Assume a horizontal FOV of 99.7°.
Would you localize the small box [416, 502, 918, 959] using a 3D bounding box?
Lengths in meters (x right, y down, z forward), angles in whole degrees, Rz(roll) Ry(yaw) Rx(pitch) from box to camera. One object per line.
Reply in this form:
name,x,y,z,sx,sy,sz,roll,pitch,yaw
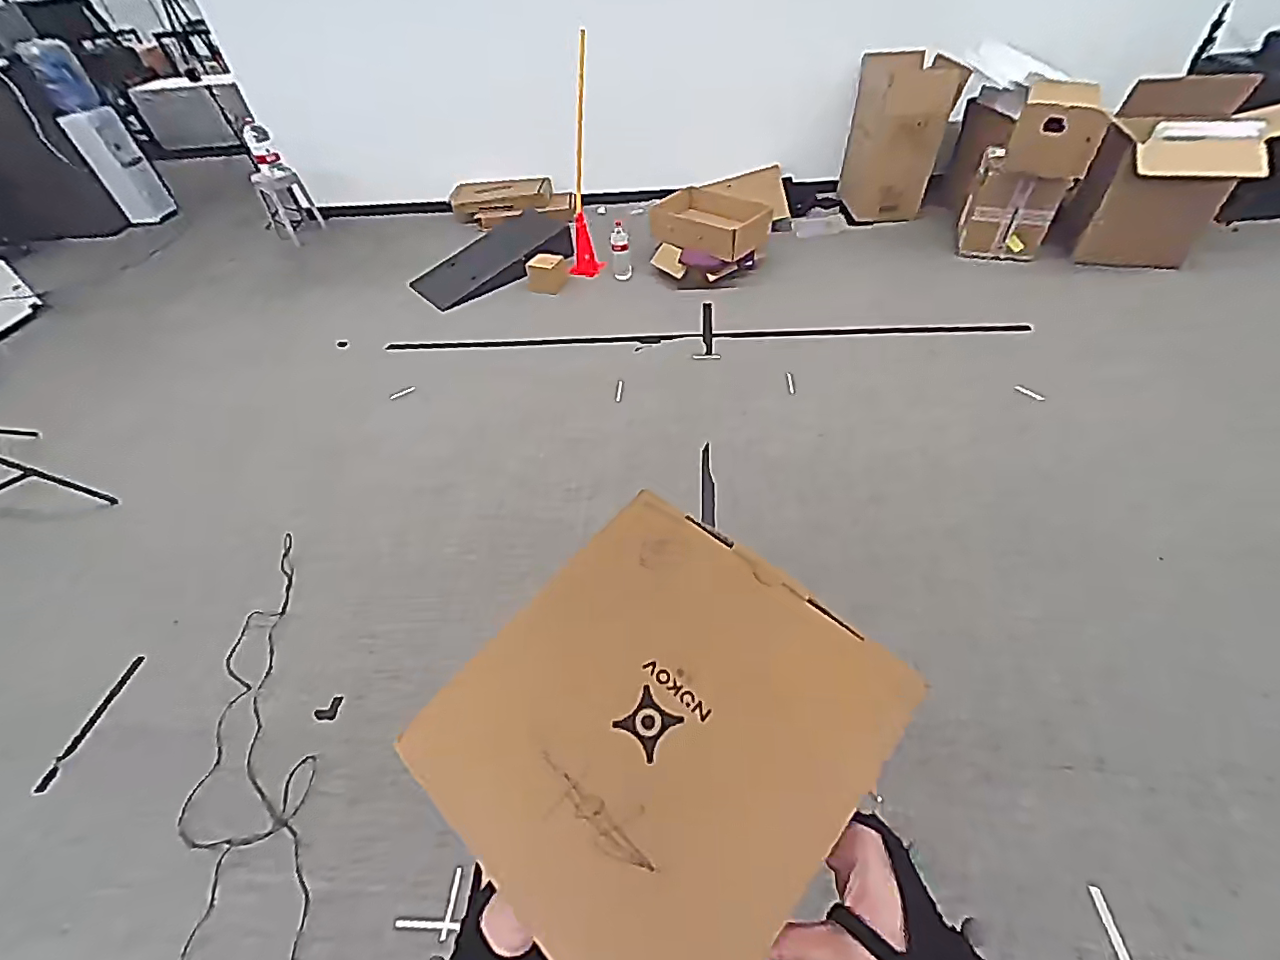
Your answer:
small box,0.019,0.152,0.312,0.168,0.176,0.179,34,69,27
